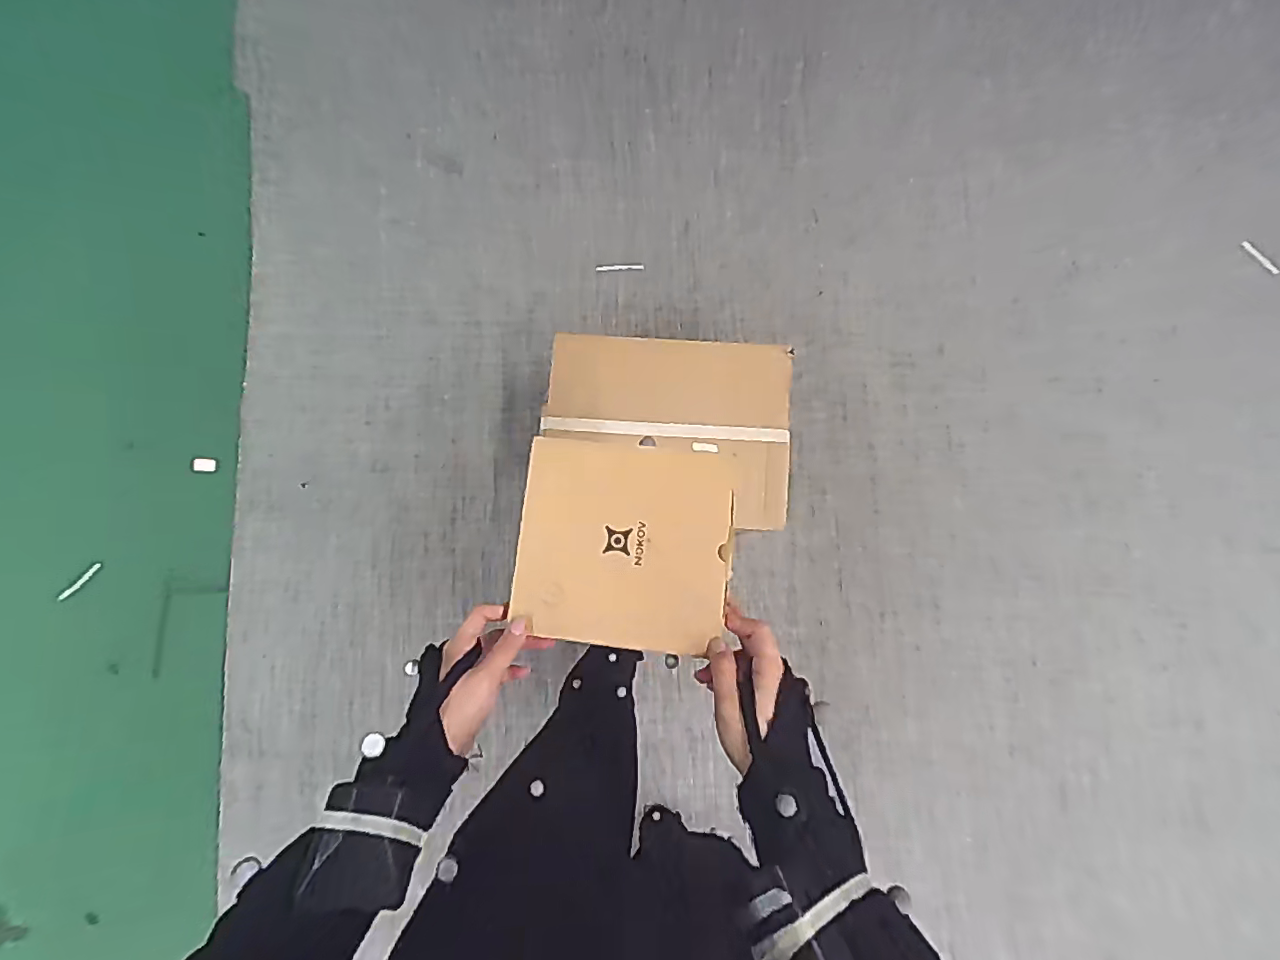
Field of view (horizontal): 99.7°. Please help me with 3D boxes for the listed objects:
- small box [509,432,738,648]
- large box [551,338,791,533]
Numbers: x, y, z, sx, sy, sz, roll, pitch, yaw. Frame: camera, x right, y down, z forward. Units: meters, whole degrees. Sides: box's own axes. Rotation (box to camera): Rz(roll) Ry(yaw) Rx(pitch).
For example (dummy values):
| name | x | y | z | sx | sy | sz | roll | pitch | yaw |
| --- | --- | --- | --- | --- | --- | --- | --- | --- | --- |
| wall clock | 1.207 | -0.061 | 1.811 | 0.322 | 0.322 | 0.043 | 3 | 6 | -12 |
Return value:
| name | x | y | z | sx | sy | sz | roll | pitch | yaw |
| --- | --- | --- | --- | --- | --- | --- | --- | --- | --- |
| small box | -0.006 | 0.061 | 0.521 | 0.179 | 0.176 | 0.168 | 5 | 79 | 5 |
| large box | 0.049 | -0.062 | 1.042 | 0.408 | 0.320 | 0.320 | 3 | 85 | 1 |
